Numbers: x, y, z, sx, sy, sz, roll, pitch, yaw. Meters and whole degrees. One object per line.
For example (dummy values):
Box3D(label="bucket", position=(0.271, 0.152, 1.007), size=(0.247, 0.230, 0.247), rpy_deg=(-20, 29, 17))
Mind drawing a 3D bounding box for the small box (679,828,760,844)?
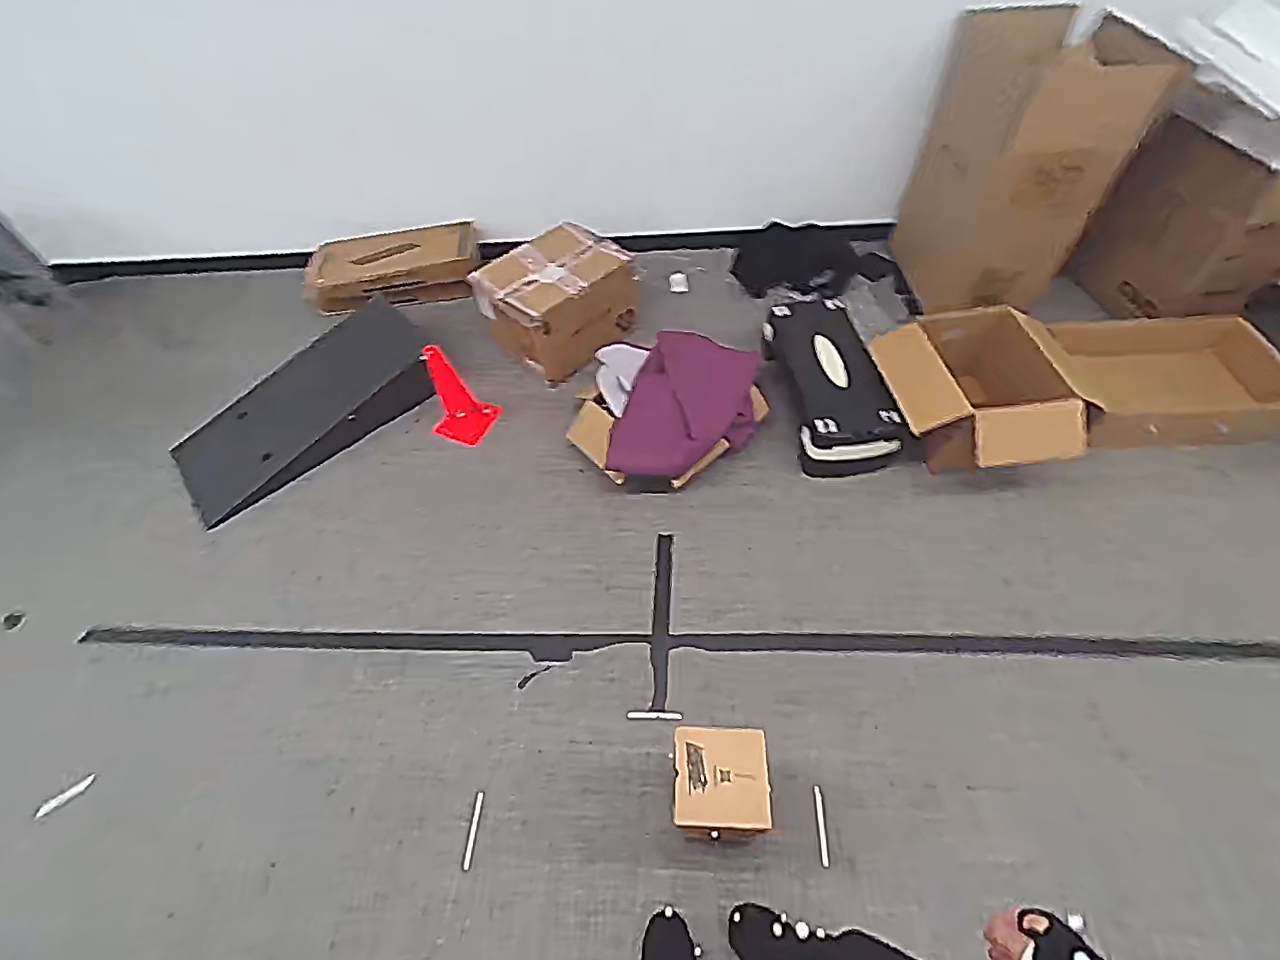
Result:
Box3D(label="small box", position=(0.176, 0.698, 1.201), size=(0.168, 0.176, 0.179), rpy_deg=(1, 55, 6))

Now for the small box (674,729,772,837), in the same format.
Box3D(label="small box", position=(0.159, 0.601, 1.068), size=(0.179, 0.176, 0.168), rpy_deg=(0, 54, 5))
